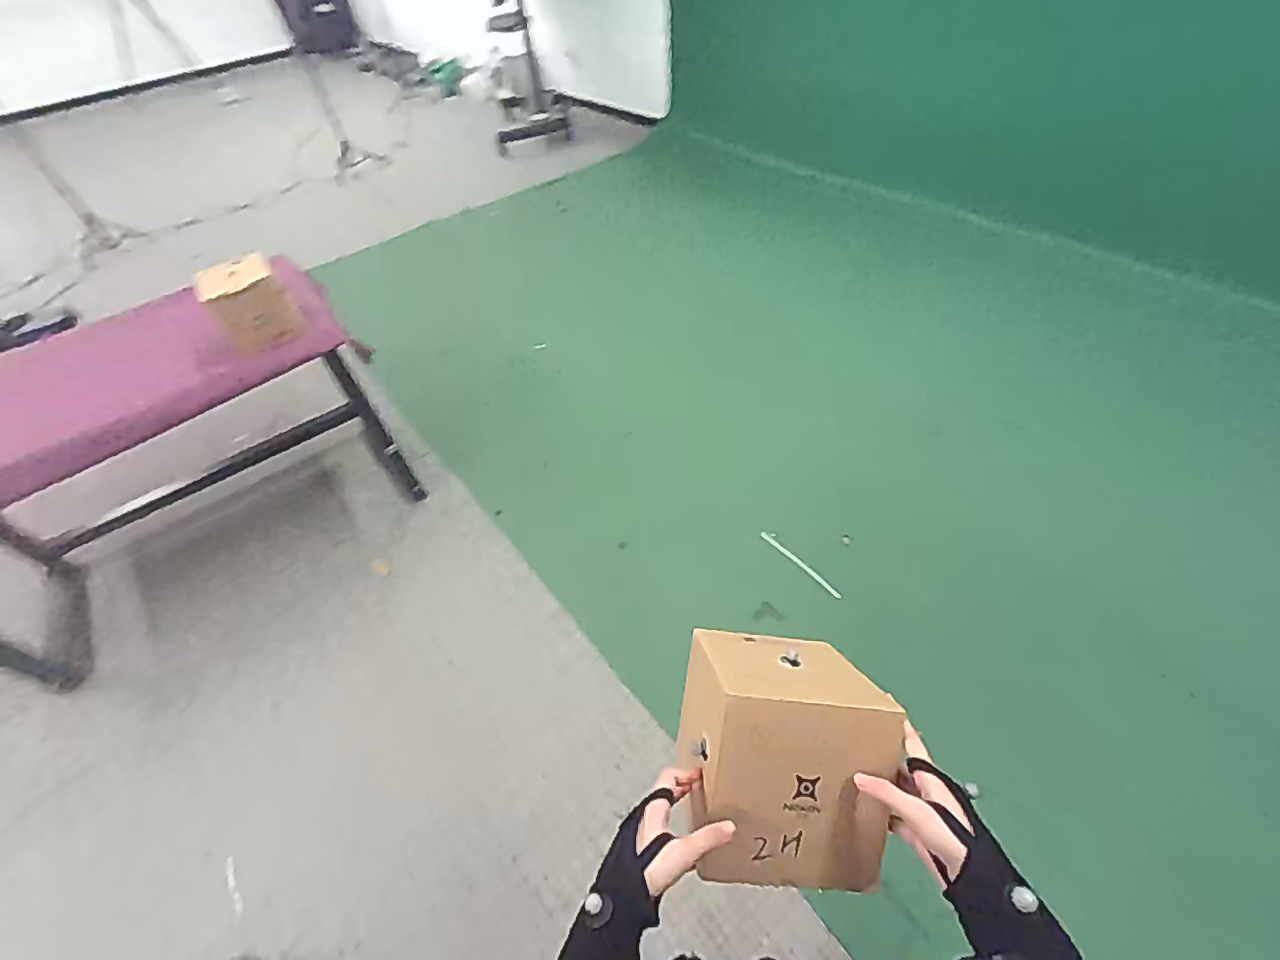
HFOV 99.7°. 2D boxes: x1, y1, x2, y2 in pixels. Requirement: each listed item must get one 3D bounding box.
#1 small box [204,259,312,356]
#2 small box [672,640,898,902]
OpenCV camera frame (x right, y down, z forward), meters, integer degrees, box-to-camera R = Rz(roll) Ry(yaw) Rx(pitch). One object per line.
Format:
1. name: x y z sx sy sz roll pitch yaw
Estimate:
1. small box: -1.015 -0.455 1.447 0.168 0.176 0.179 -30 54 -17
2. small box: 0.132 0.279 0.554 0.168 0.176 0.179 7 93 -5
